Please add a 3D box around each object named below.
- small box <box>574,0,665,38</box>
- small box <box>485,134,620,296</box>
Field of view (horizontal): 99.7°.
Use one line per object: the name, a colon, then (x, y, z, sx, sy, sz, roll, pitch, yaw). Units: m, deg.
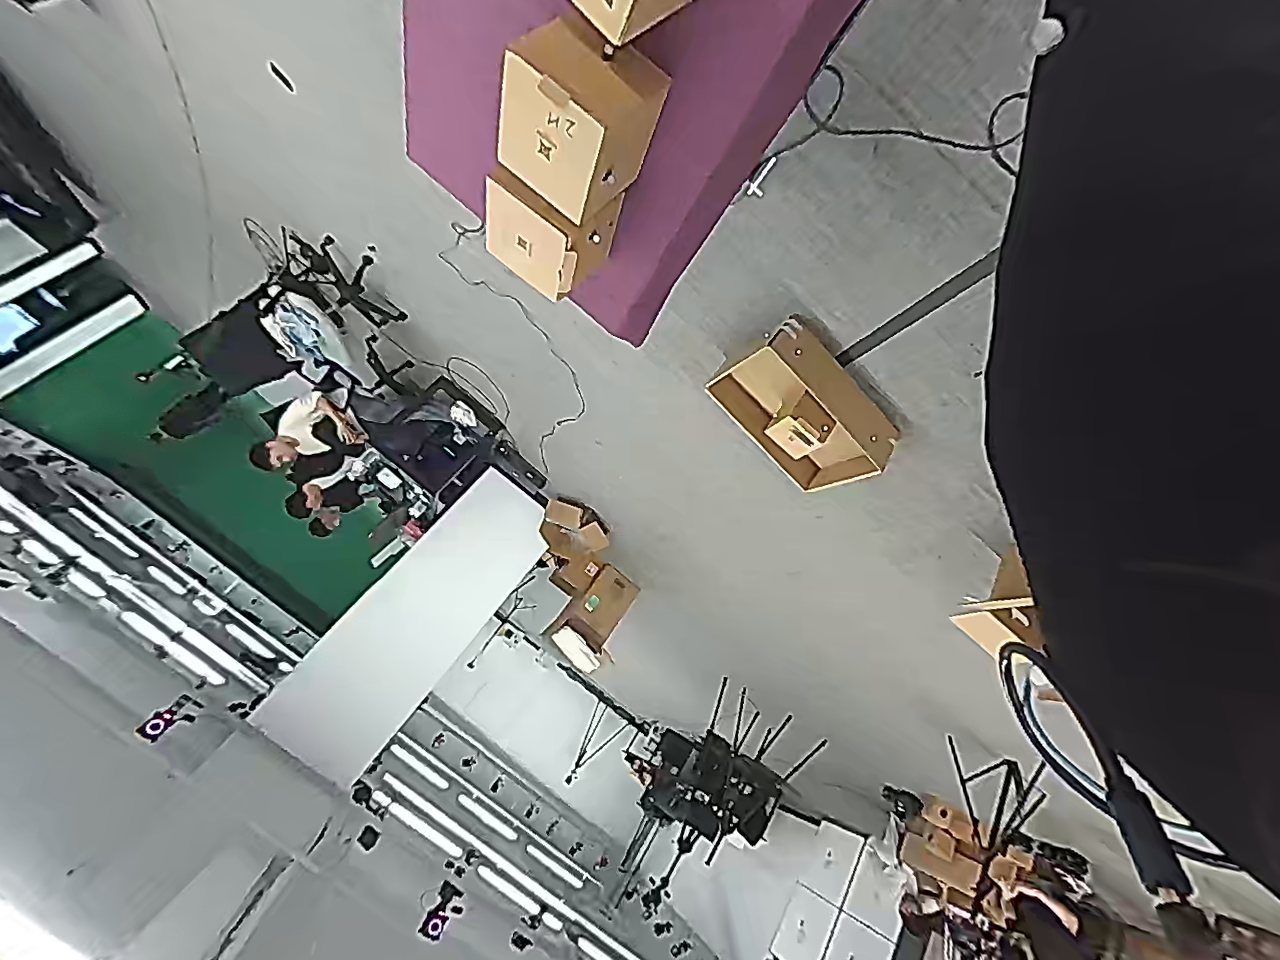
small box: (-0.016, -0.630, 0.561, 0.179, 0.176, 0.168, 43, 154, -9)
small box: (-0.160, -0.484, 0.987, 0.179, 0.176, 0.168, 38, 154, 1)
